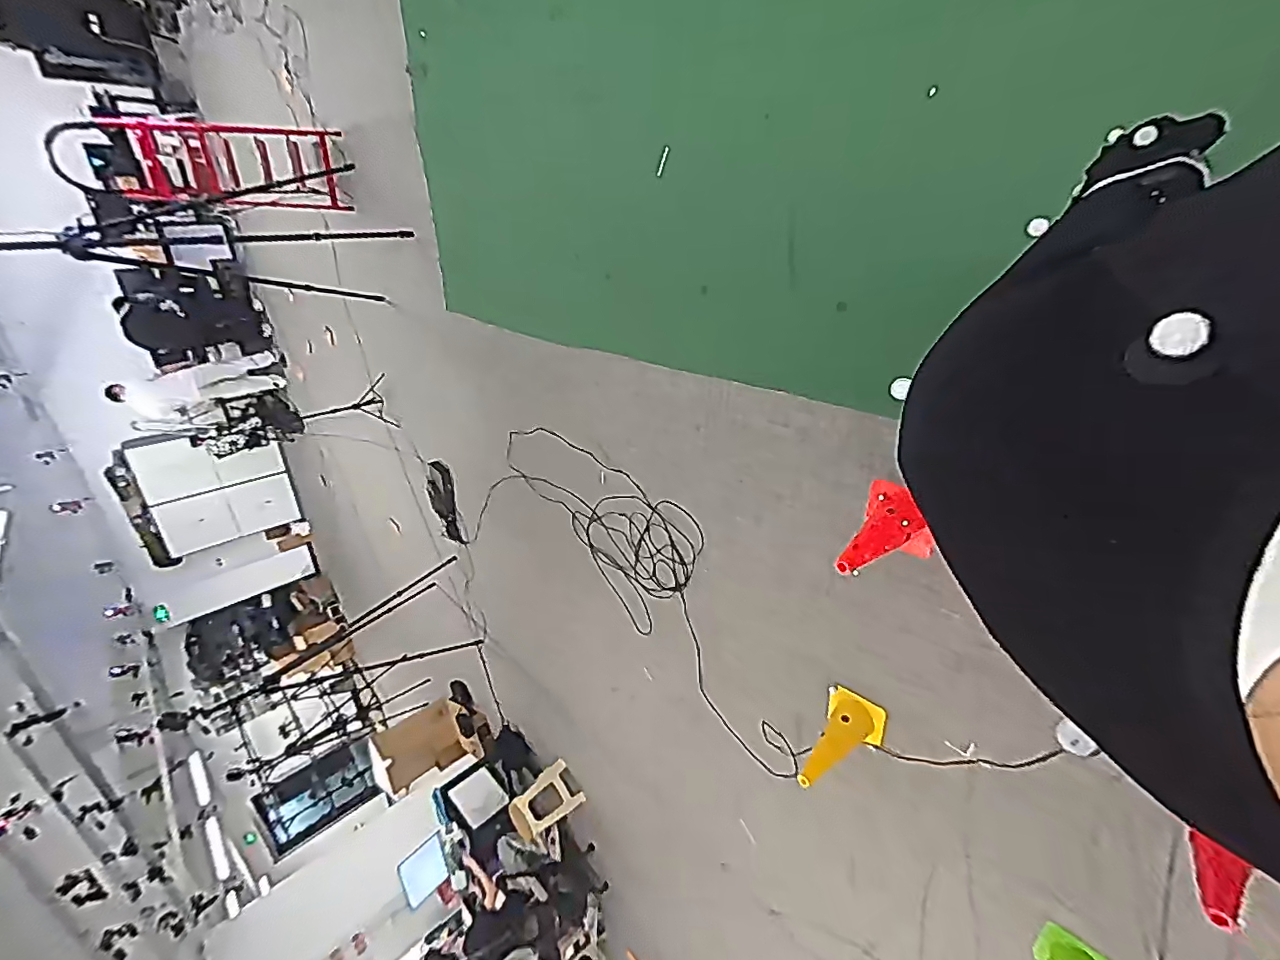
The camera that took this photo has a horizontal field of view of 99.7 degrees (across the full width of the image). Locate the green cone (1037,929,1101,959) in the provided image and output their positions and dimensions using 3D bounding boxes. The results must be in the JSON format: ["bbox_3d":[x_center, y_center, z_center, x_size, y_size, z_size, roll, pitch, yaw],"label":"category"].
[{"bbox_3d":[1.194,1.517,1.503,0.202,0.368,0.200,23,124,43],"label":"green cone"}]

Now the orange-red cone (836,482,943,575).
[{"bbox_3d":[0.643,0.172,1.474,0.198,0.360,0.199,25,126,41],"label":"orange-red cone"}]

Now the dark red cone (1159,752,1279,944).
[{"bbox_3d":[1.191,0.771,1.102,0.202,0.394,0.201,17,119,44],"label":"dark red cone"}]
